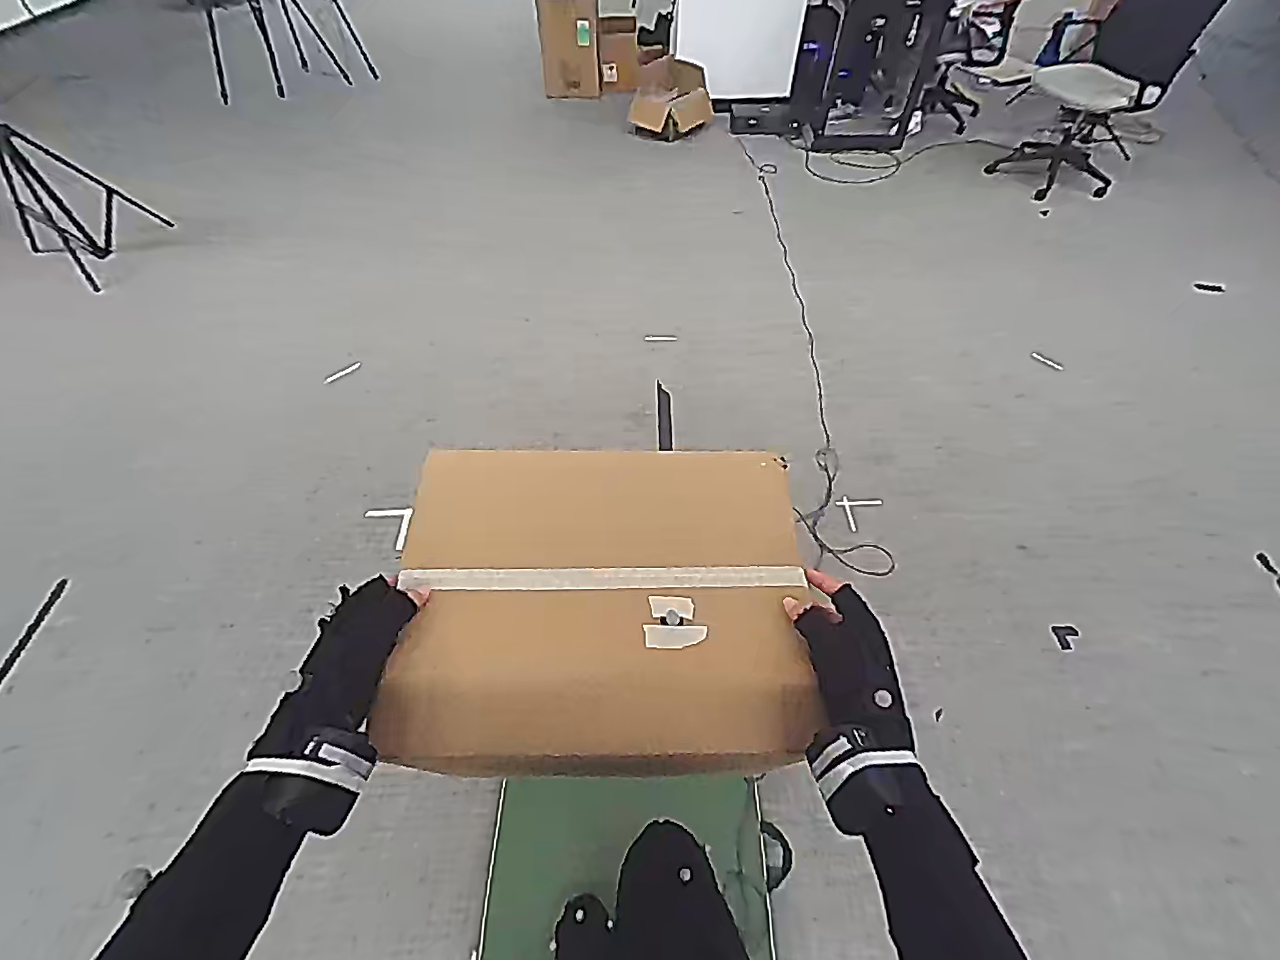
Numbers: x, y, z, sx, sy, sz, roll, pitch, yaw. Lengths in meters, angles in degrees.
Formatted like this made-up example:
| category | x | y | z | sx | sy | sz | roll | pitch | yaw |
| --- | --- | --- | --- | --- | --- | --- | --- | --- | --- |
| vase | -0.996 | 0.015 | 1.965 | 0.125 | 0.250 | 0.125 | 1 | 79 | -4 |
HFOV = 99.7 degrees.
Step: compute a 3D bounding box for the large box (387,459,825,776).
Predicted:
| category | x | y | z | sx | sy | sz | roll | pitch | yaw |
| --- | --- | --- | --- | --- | --- | --- | --- | --- | --- |
| large box | -0.038 | 0.184 | 0.688 | 0.408 | 0.320 | 0.320 | 0 | 58 | -2 |
